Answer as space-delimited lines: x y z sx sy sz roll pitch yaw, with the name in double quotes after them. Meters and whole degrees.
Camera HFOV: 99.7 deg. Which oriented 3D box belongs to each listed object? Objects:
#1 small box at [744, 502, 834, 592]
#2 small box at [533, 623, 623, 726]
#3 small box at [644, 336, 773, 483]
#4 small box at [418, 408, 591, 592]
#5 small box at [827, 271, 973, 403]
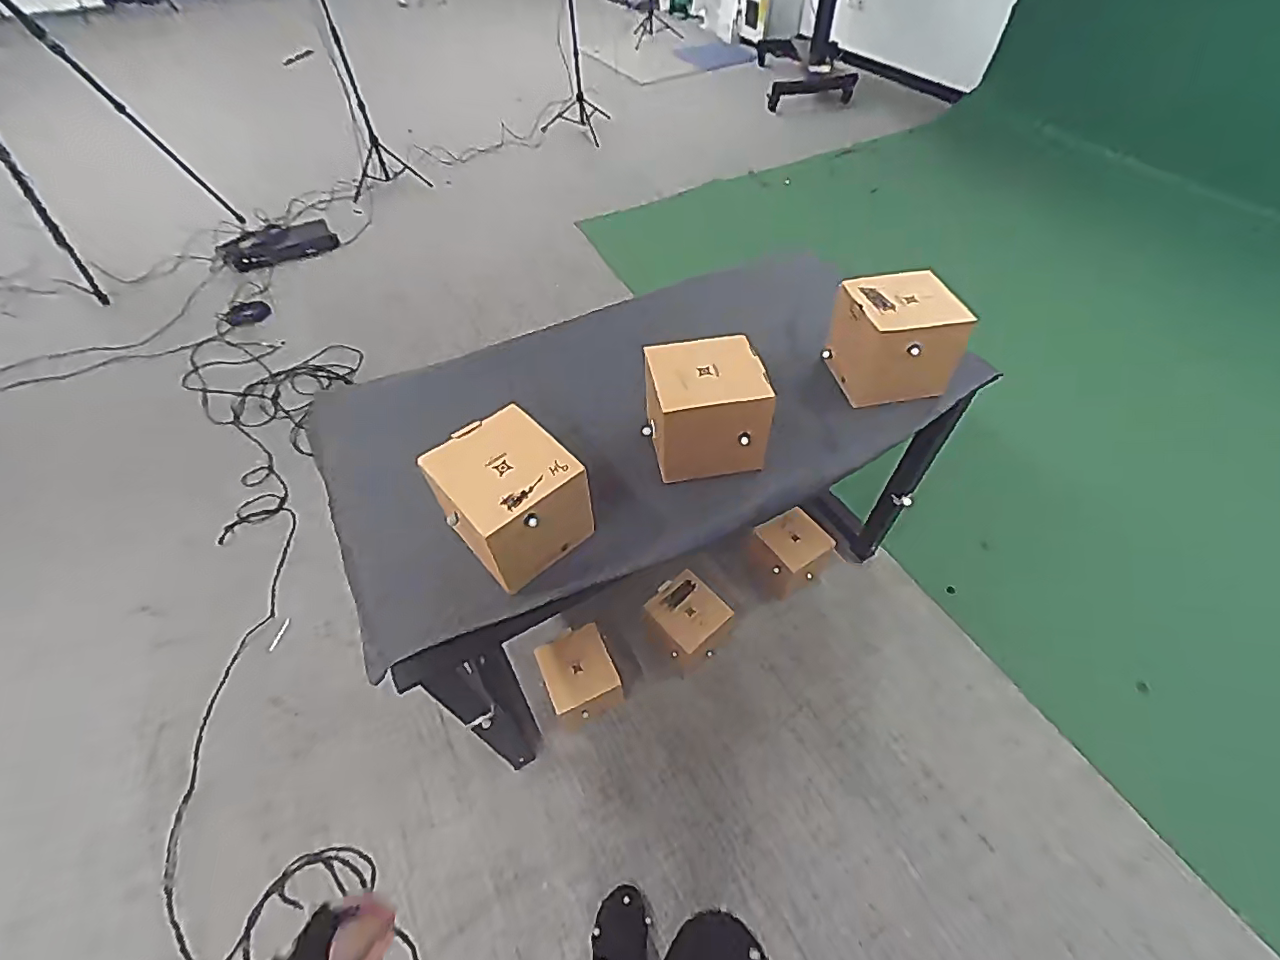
0.426 0.203 1.570 0.168 0.176 0.179 -29 57 -20 "small box"
-0.151 0.499 1.367 0.168 0.176 0.179 -22 55 -14 "small box"
0.105 -0.116 0.909 0.179 0.176 0.168 -9 50 -4 "small box"
-0.192 0.033 0.804 0.168 0.176 0.179 -37 60 -24 "small box"
0.462 -0.260 1.002 0.179 0.176 0.168 -9 51 -4 "small box"
